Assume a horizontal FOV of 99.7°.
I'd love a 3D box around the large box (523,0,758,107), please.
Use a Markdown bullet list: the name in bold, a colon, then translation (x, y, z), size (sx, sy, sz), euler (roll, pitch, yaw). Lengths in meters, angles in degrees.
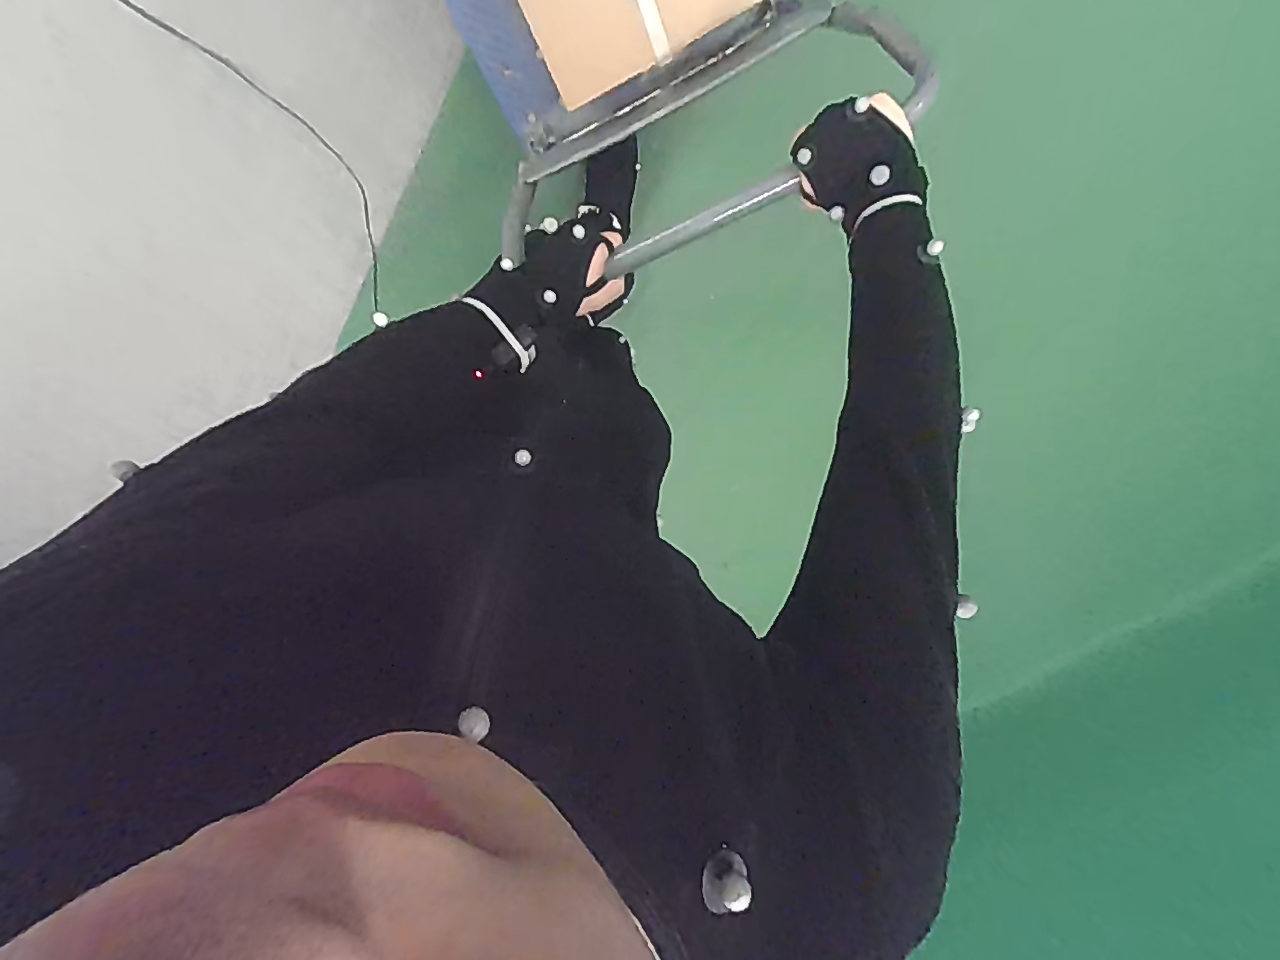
- **large box**: translation (-0.046, -0.841, 0.779), size (0.320, 0.320, 0.408), euler (-21, 126, 14)
